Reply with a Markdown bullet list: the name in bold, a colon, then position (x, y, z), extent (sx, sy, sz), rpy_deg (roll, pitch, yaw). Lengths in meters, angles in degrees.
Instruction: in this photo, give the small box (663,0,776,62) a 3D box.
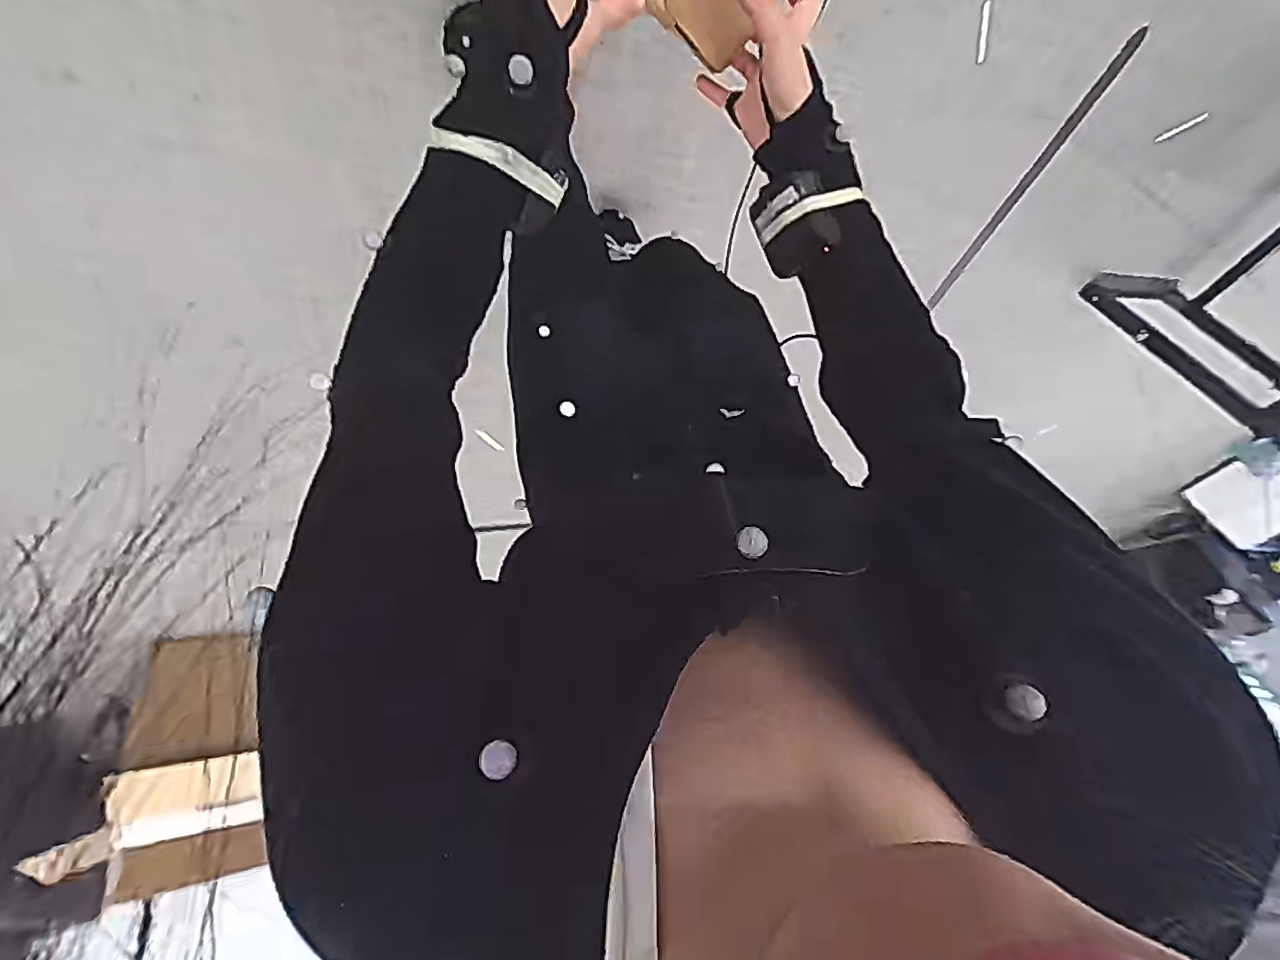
- **small box**: position (0.041, -0.455, 0.366), extent (0.168, 0.176, 0.179), rpy_deg (7, 141, -48)
